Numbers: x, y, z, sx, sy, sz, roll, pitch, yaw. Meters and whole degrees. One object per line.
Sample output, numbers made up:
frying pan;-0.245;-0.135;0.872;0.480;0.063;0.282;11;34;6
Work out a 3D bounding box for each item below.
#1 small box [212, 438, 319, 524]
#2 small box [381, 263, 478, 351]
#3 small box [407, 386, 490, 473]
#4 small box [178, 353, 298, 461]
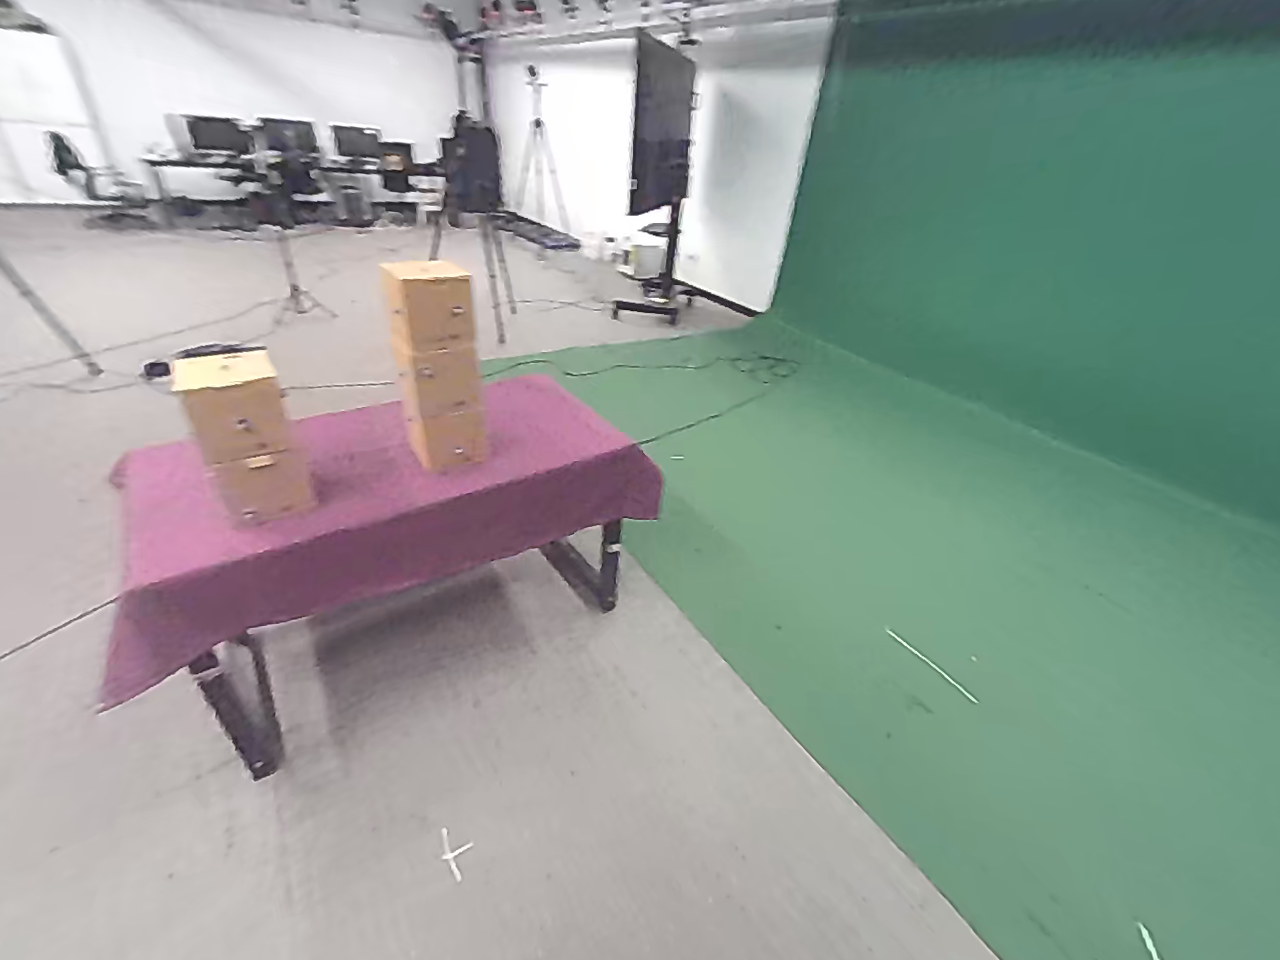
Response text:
small box;-0.865;-0.016;1.248;0.168;0.176;0.179;-19;39;-33
small box;-0.507;-0.419;1.314;0.168;0.176;0.179;-19;39;-33
small box;-0.525;-0.141;1.487;0.168;0.176;0.179;-17;39;-30
small box;-0.856;-0.153;1.158;0.168;0.176;0.179;-17;40;-32
